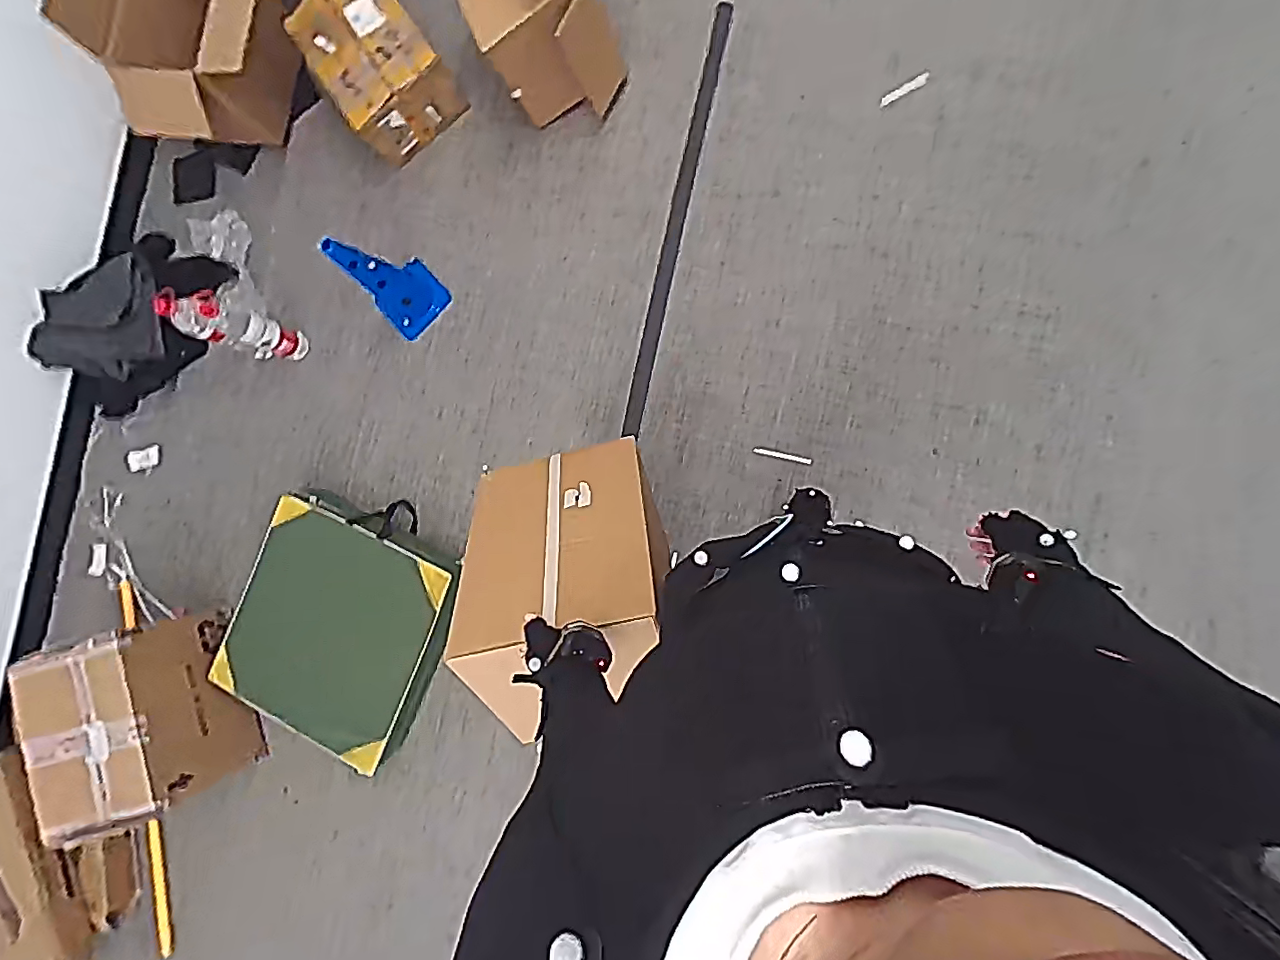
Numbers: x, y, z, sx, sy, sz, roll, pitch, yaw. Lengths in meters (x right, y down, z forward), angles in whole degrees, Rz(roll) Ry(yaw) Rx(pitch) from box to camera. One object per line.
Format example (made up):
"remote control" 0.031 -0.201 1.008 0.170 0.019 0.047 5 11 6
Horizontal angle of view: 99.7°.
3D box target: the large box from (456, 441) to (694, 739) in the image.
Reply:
"large box" -0.103 0.195 1.003 0.320 0.320 0.408 -12 41 4
